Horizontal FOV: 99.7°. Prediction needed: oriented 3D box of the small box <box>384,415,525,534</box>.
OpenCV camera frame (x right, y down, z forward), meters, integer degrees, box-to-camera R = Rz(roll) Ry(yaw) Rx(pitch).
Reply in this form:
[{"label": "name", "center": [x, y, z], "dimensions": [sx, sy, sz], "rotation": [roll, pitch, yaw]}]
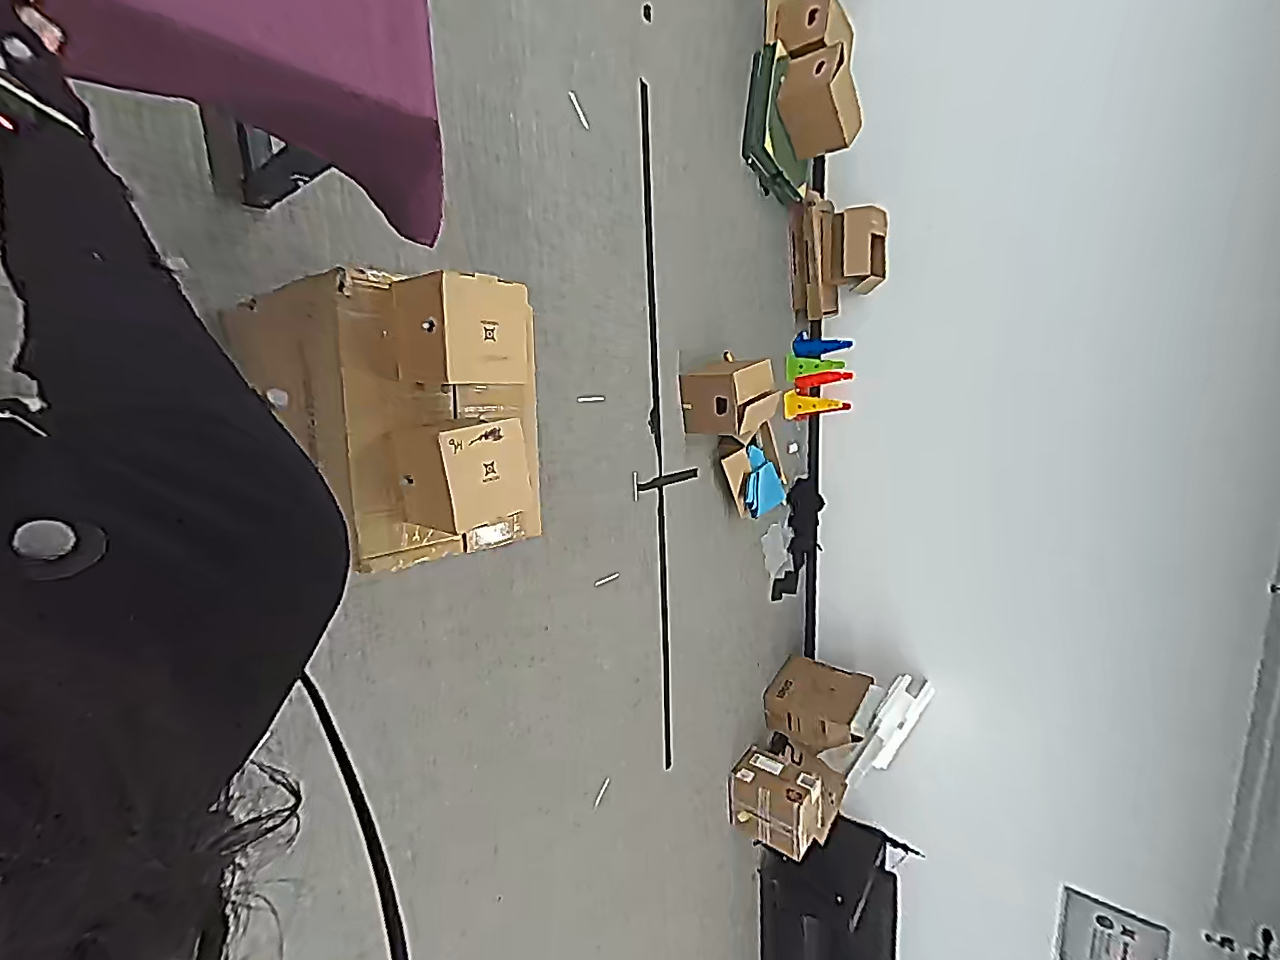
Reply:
[{"label": "small box", "center": [-0.333, -0.019, 0.974], "dimensions": [0.168, 0.176, 0.179], "rotation": [-21, 111, -48]}]
